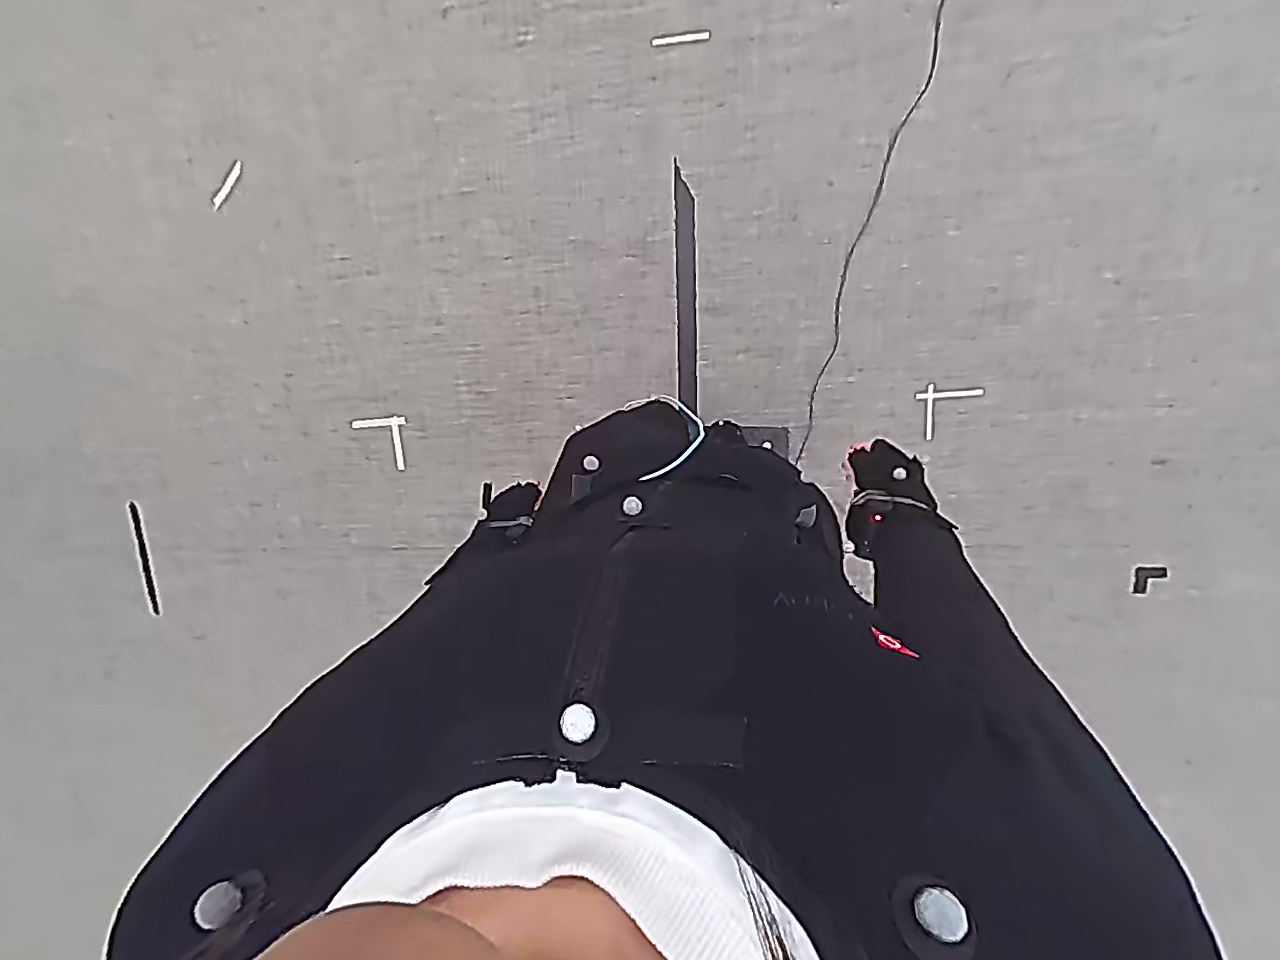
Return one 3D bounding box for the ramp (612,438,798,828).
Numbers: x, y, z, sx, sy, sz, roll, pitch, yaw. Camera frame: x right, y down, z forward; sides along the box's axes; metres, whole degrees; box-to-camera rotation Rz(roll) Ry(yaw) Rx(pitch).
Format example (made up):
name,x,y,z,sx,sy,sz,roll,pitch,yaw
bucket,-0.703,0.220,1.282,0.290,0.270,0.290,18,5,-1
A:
name,x,y,z,sx,sy,sz,roll,pitch,yaw
ramp,0.166,0.386,1.440,0.509,0.206,0.991,-1,97,11
